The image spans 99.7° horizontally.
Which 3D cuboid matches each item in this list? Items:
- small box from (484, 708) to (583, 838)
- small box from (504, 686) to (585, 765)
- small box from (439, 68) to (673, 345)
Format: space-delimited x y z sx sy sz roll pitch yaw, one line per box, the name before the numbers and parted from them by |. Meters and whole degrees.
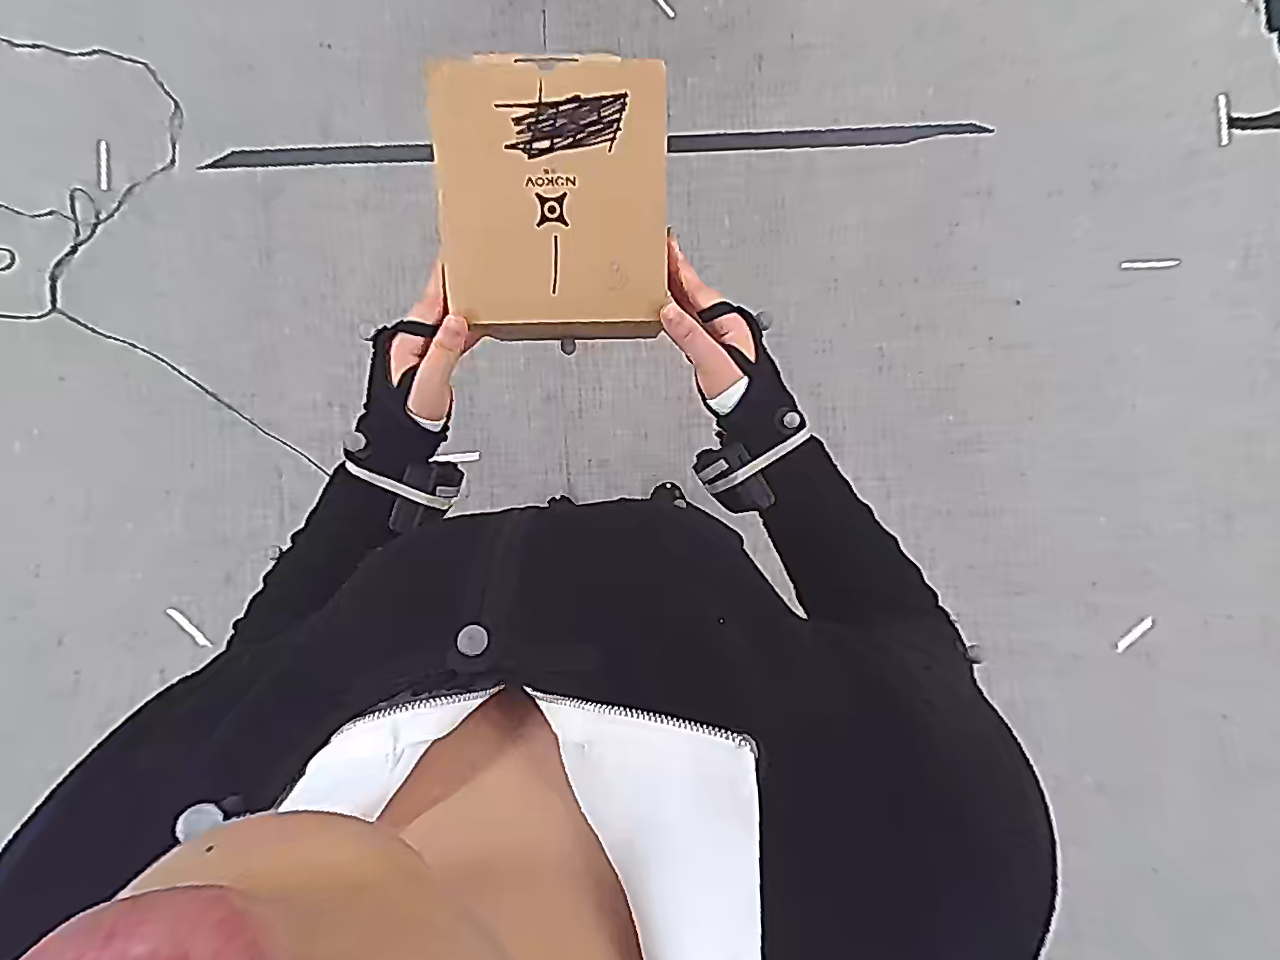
small box | -0.218 0.613 1.147 0.168 0.176 0.179 -8 89 0
small box | -0.226 0.614 1.311 0.168 0.176 0.179 -5 89 0
small box | -0.060 -0.215 0.470 0.168 0.176 0.179 -1 100 -1
